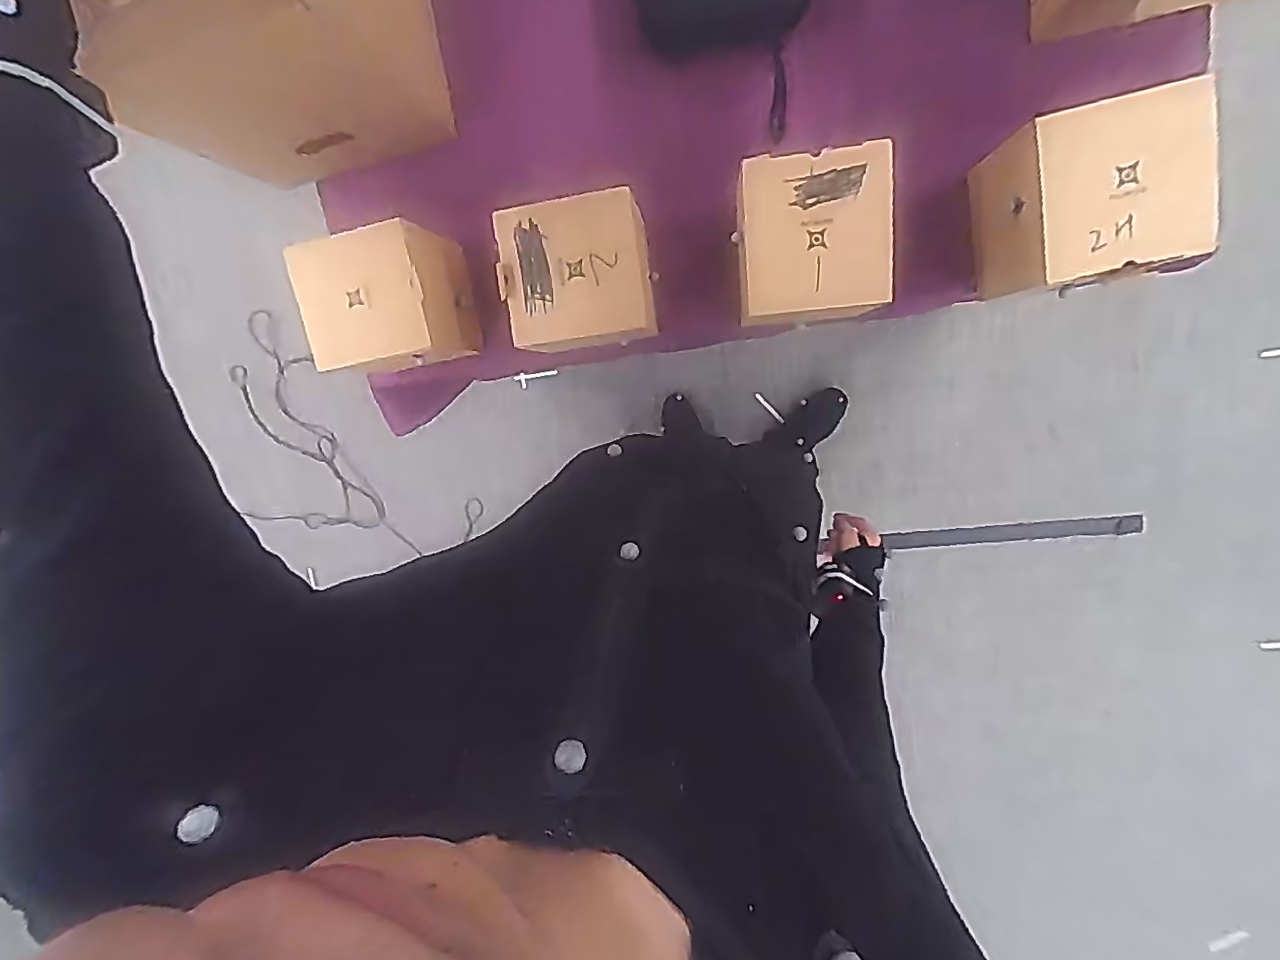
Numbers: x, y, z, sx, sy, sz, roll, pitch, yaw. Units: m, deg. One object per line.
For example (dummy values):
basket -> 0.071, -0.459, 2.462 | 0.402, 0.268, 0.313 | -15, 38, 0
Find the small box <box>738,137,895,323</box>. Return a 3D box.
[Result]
small box -> 0.216, -0.305, 0.698 | 0.168, 0.176, 0.179 | -3, 102, 9

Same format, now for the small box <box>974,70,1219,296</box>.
small box -> 0.524, -0.333, 0.646 | 0.168, 0.176, 0.179 | -9, 101, 11

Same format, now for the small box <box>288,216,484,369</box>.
small box -> -0.356, -0.258, 0.788 | 0.179, 0.176, 0.168 | -10, 100, 9
